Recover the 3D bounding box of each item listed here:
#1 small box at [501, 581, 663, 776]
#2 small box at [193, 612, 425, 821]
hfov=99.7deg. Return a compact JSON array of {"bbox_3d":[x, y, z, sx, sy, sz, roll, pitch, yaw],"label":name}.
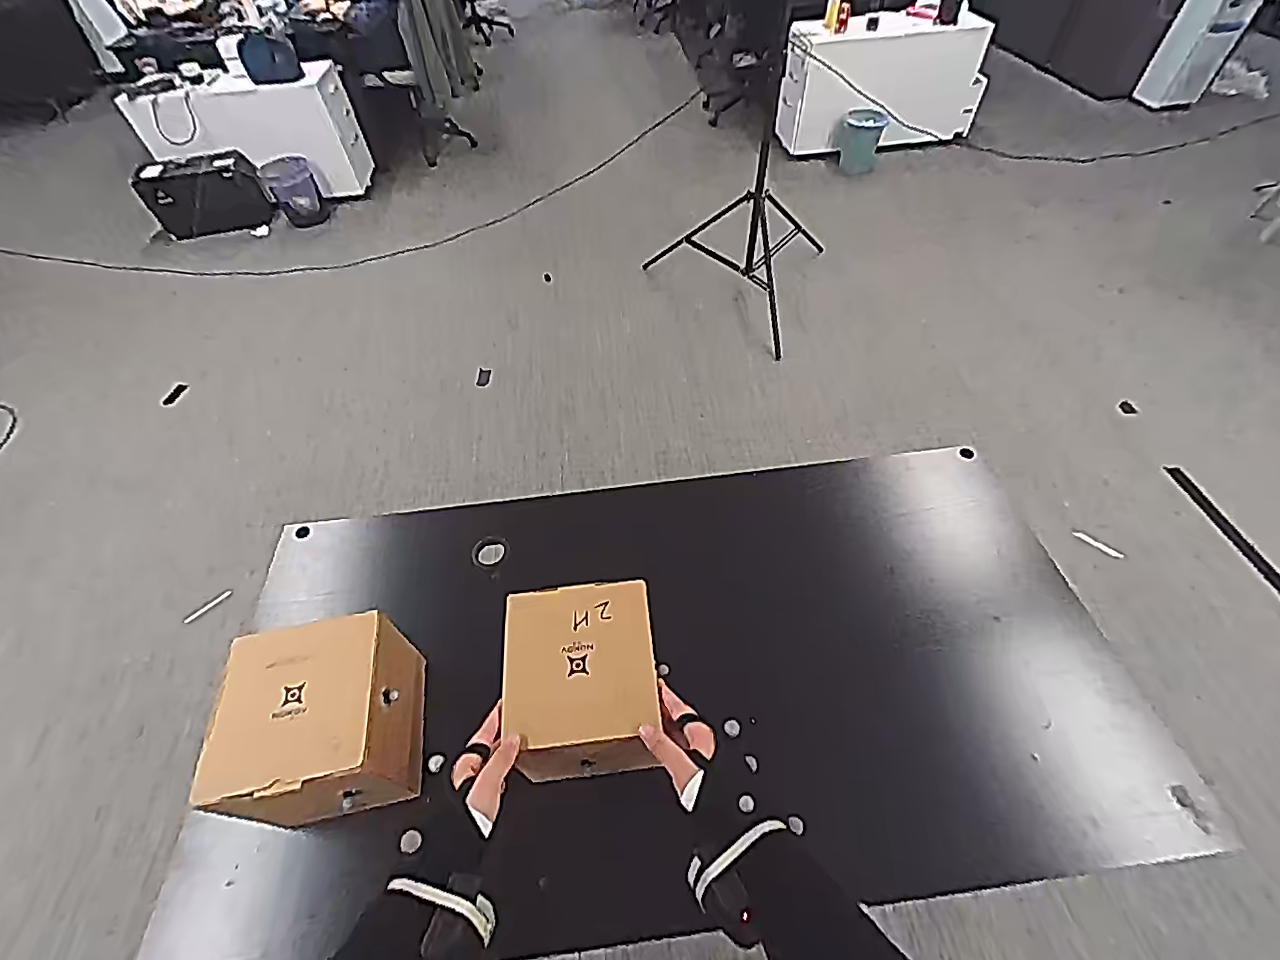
[{"bbox_3d":[-0.063,0.246,0.653,0.168,0.176,0.179,-6,52,-2],"label":"small box"},{"bbox_3d":[-0.366,0.285,0.641,0.168,0.176,0.179,-10,51,-7],"label":"small box"}]
